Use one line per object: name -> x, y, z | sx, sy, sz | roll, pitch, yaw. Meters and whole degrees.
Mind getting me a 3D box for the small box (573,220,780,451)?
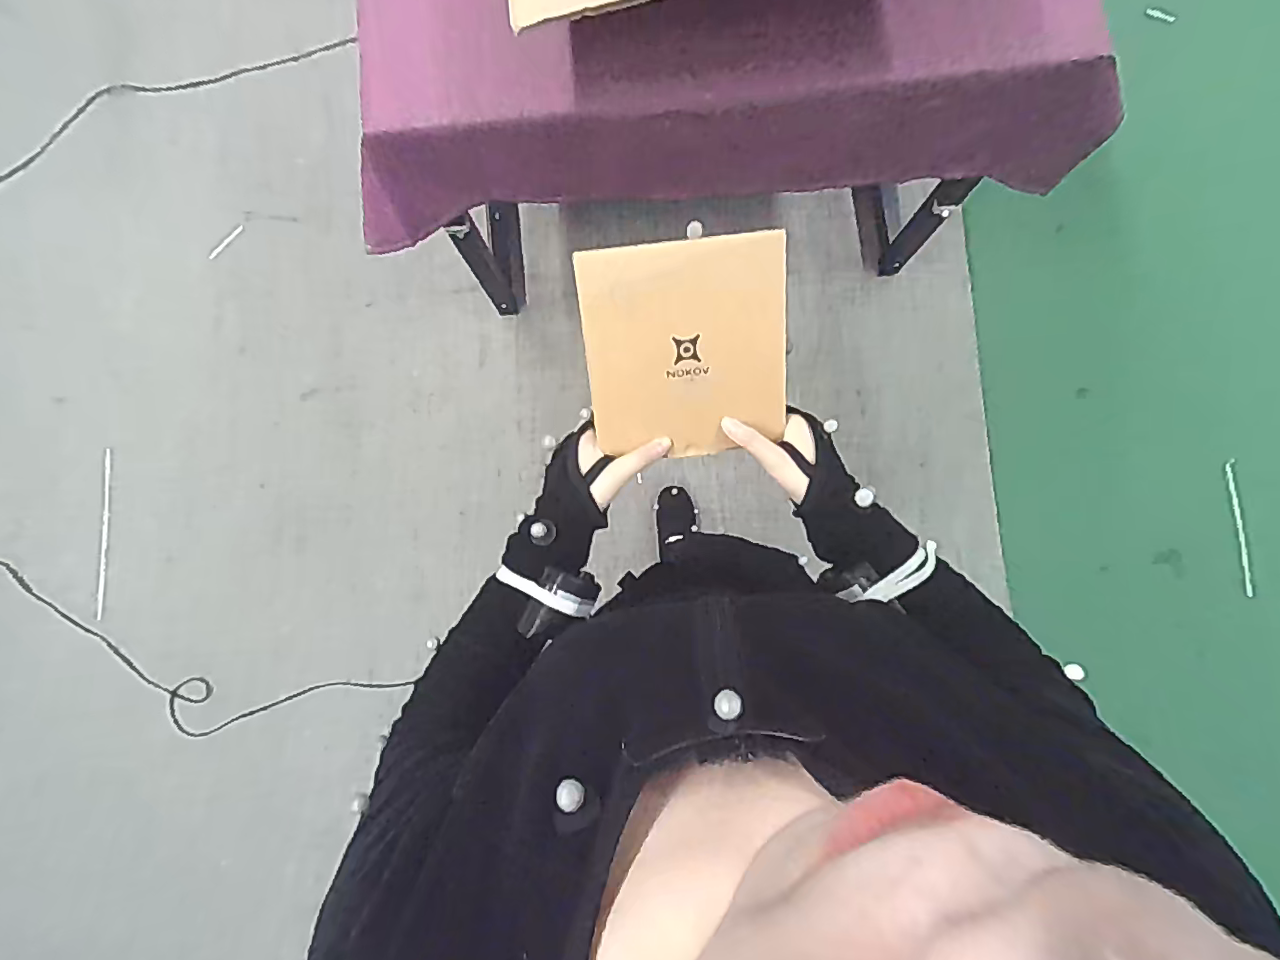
small box -> 0.031, -0.143, 0.523 | 0.168, 0.176, 0.179 | -6, 113, 1
